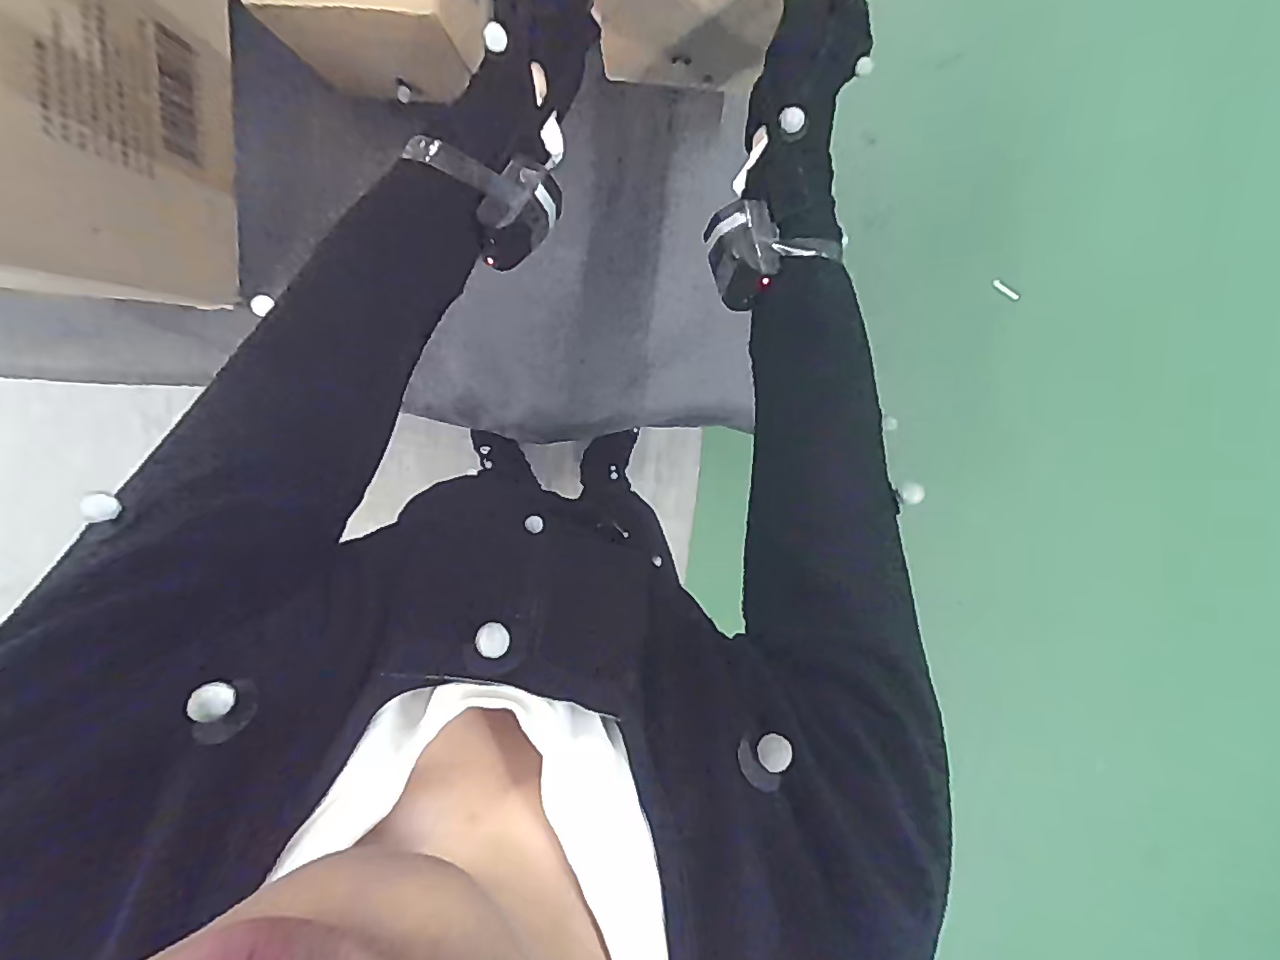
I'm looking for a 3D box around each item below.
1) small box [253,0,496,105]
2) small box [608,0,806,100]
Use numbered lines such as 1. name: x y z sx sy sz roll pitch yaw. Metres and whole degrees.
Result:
1. small box: -0.247 -0.506 0.538 0.179 0.176 0.168 5 100 0
2. small box: 0.060 -0.476 0.472 0.168 0.176 0.179 6 102 2
